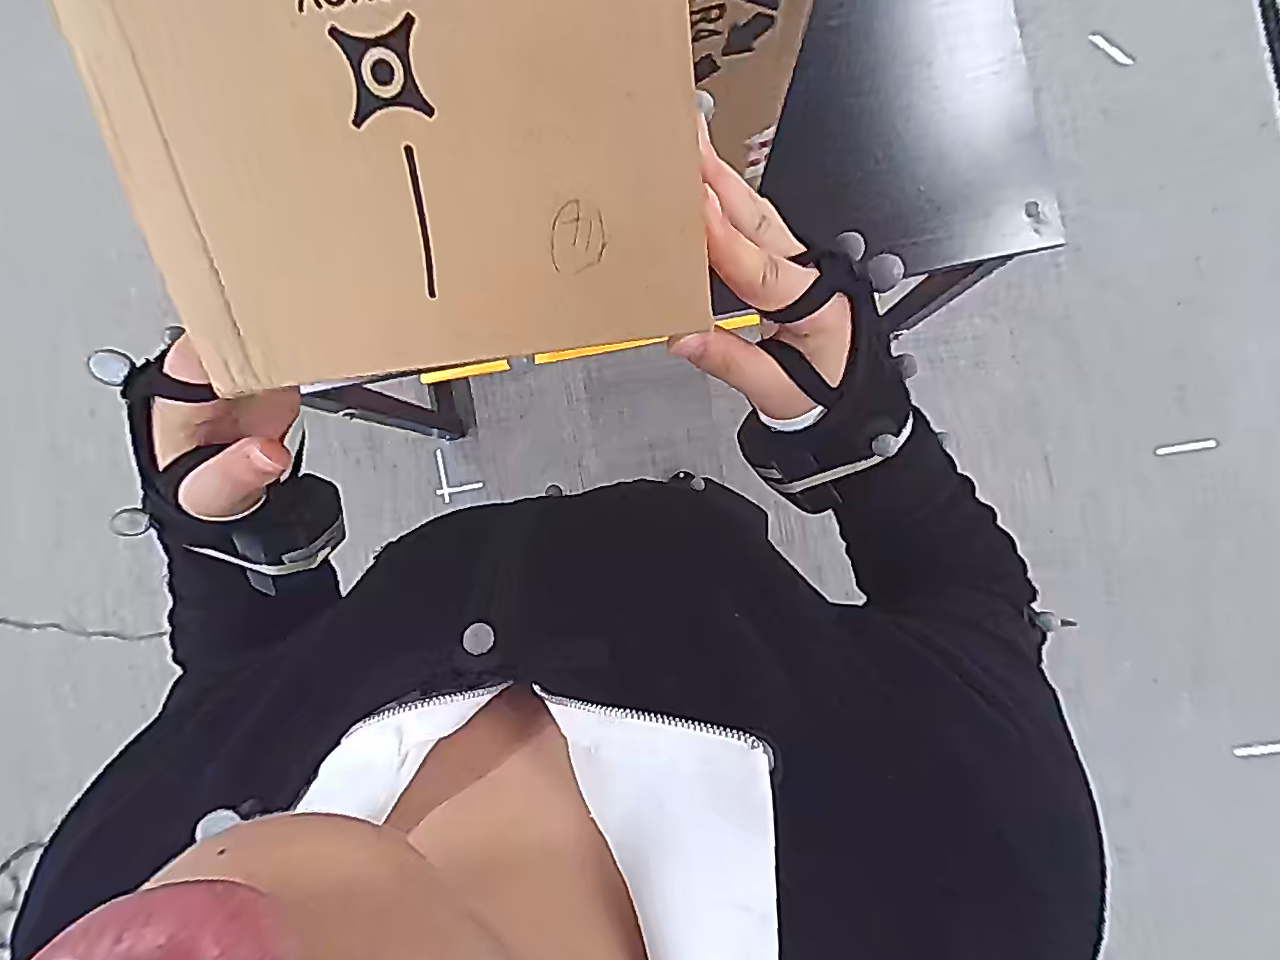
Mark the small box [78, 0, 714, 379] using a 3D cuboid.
[{"bbox_3d":[-0.066,-0.146,0.222,0.168,0.176,0.179,-6,109,3],"label":"small box"}]
